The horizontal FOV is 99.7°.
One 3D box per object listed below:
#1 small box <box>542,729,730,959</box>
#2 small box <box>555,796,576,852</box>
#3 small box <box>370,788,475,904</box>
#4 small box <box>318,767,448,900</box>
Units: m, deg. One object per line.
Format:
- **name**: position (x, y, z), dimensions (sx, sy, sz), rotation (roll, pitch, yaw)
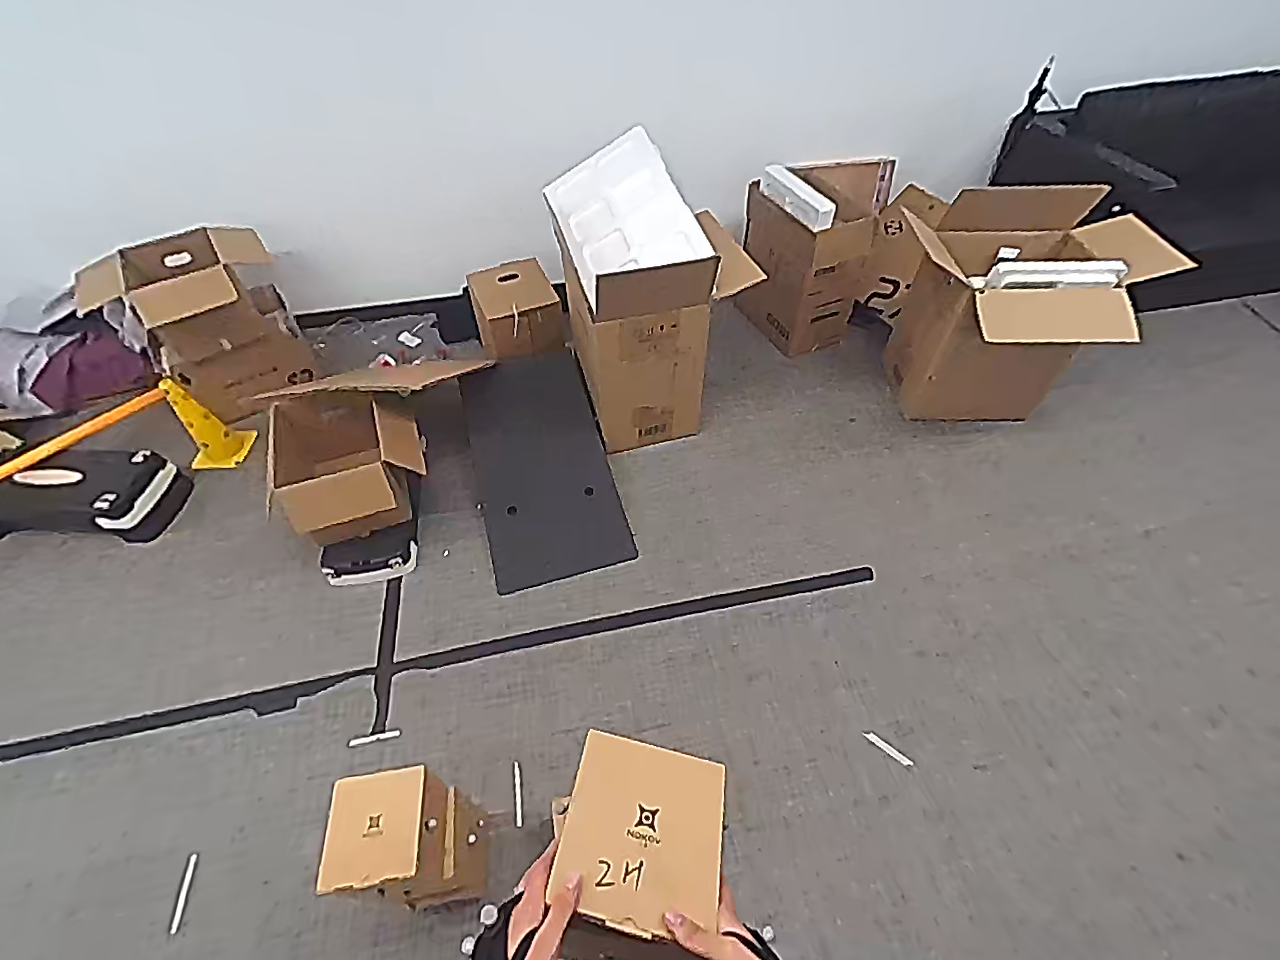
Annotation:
- **small box**: position (-0.005, 0.419, 0.601), dimensions (0.168, 0.176, 0.179), rotation (14, 36, 3)
- **small box**: position (-0.104, 0.857, 1.288), dimensions (0.168, 0.176, 0.179), rotation (-11, 52, -7)
- **small box**: position (-0.457, 0.776, 1.143), dimensions (0.179, 0.176, 0.168), rotation (-8, 50, -8)
- **small box**: position (-0.470, 0.668, 1.021), dimensions (0.168, 0.176, 0.179), rotation (-7, 51, -6)
